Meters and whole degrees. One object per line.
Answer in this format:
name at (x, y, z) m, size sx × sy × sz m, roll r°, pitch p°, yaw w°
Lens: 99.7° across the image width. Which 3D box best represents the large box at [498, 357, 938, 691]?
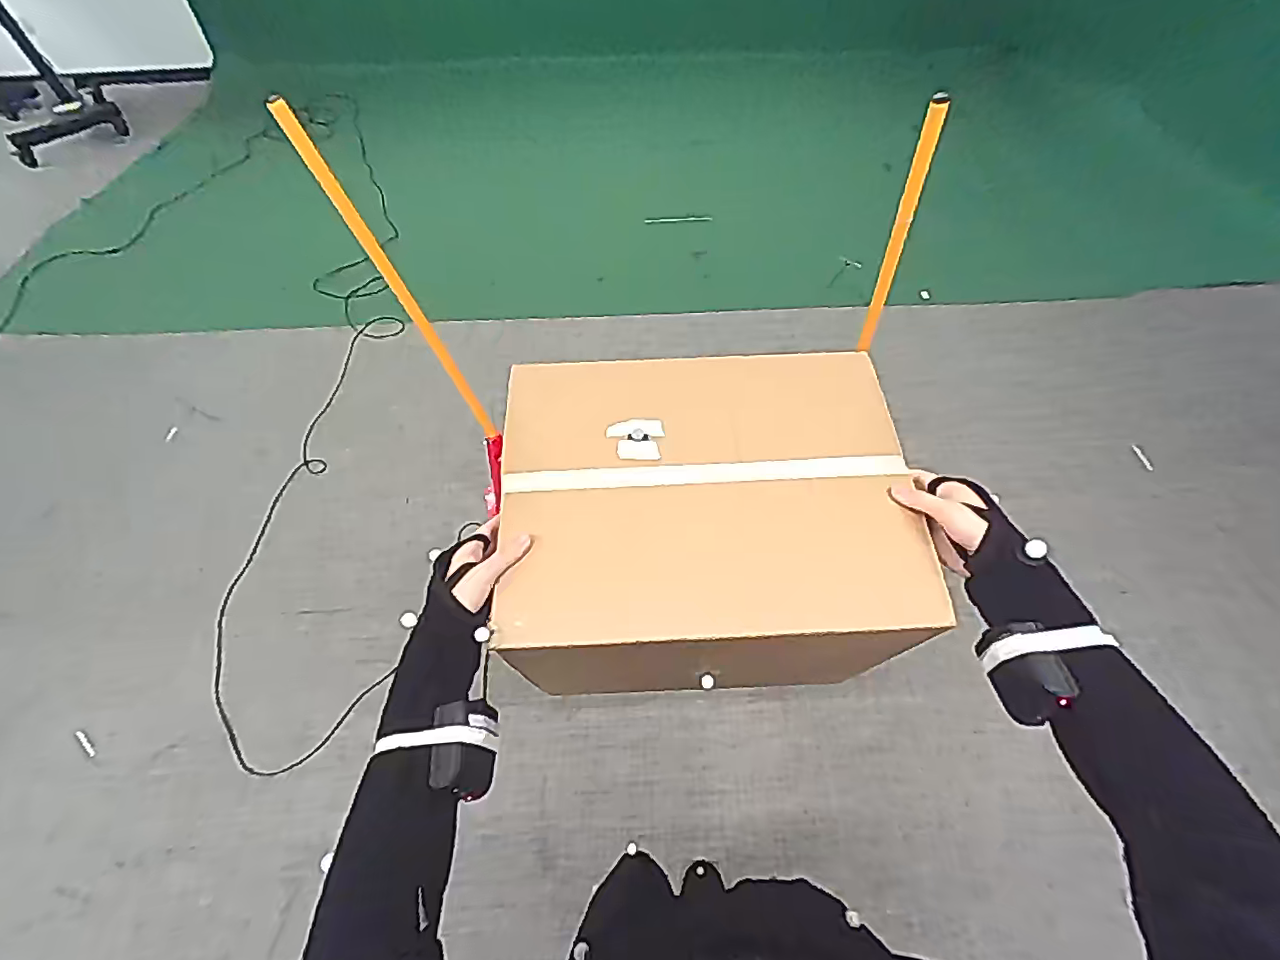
large box at (0.066, 0.075, 0.681) m, size 0.408 × 0.320 × 0.320 m, roll -3°, pitch 61°, yaw 0°
